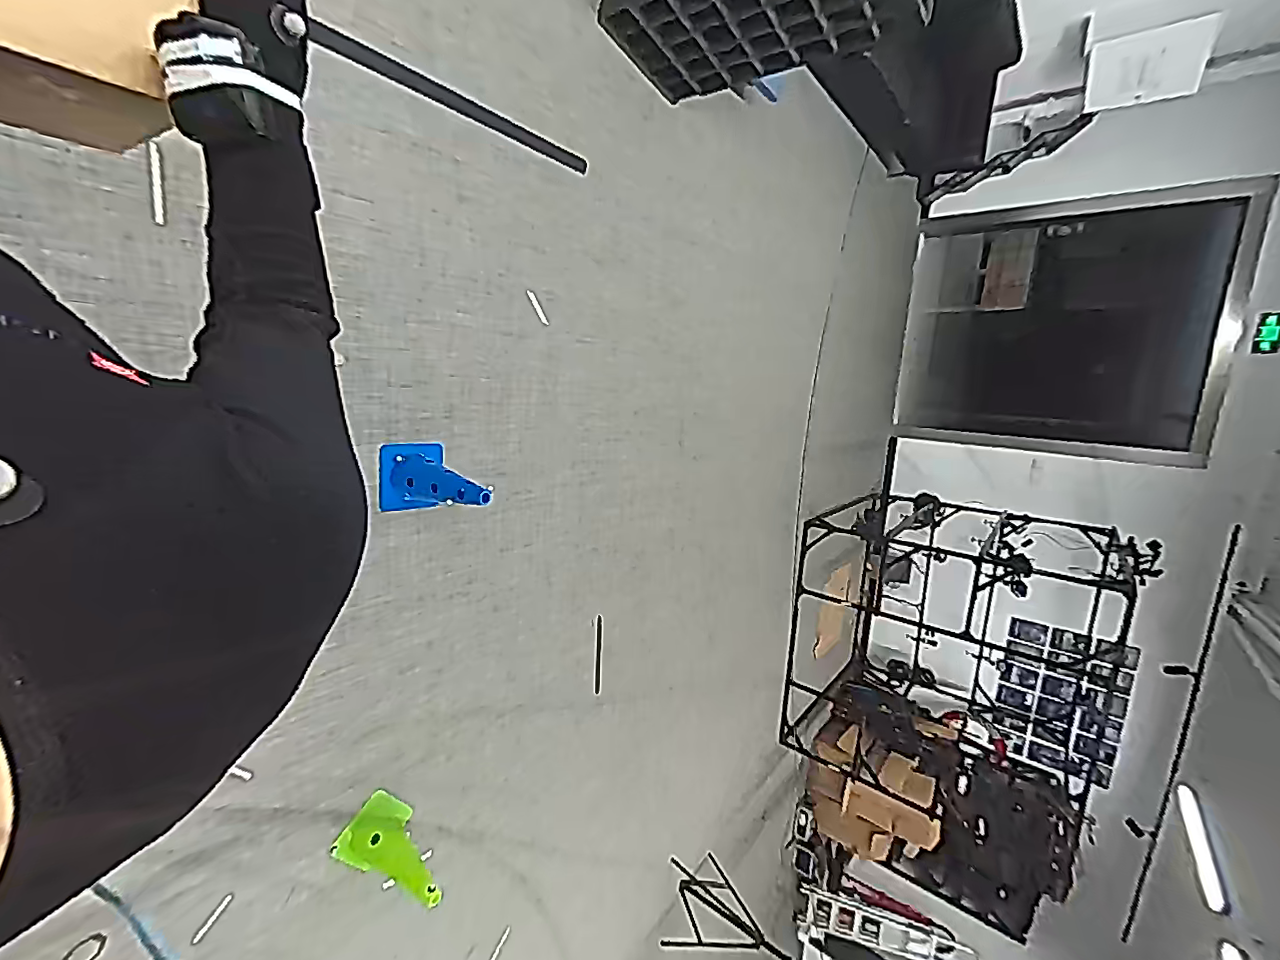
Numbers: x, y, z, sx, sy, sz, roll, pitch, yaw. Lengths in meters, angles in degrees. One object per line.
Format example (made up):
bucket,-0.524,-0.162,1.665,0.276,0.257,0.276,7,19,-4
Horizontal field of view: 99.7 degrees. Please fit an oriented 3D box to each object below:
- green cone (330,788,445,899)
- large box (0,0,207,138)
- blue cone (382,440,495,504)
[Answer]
green cone,-0.703,1.121,1.601,0.202,0.368,0.200,-54,138,-32
large box,-0.533,-0.436,0.286,0.408,0.320,0.320,-10,114,-51
blue cone,-0.552,0.001,1.530,0.192,0.380,0.193,-5,104,-54
